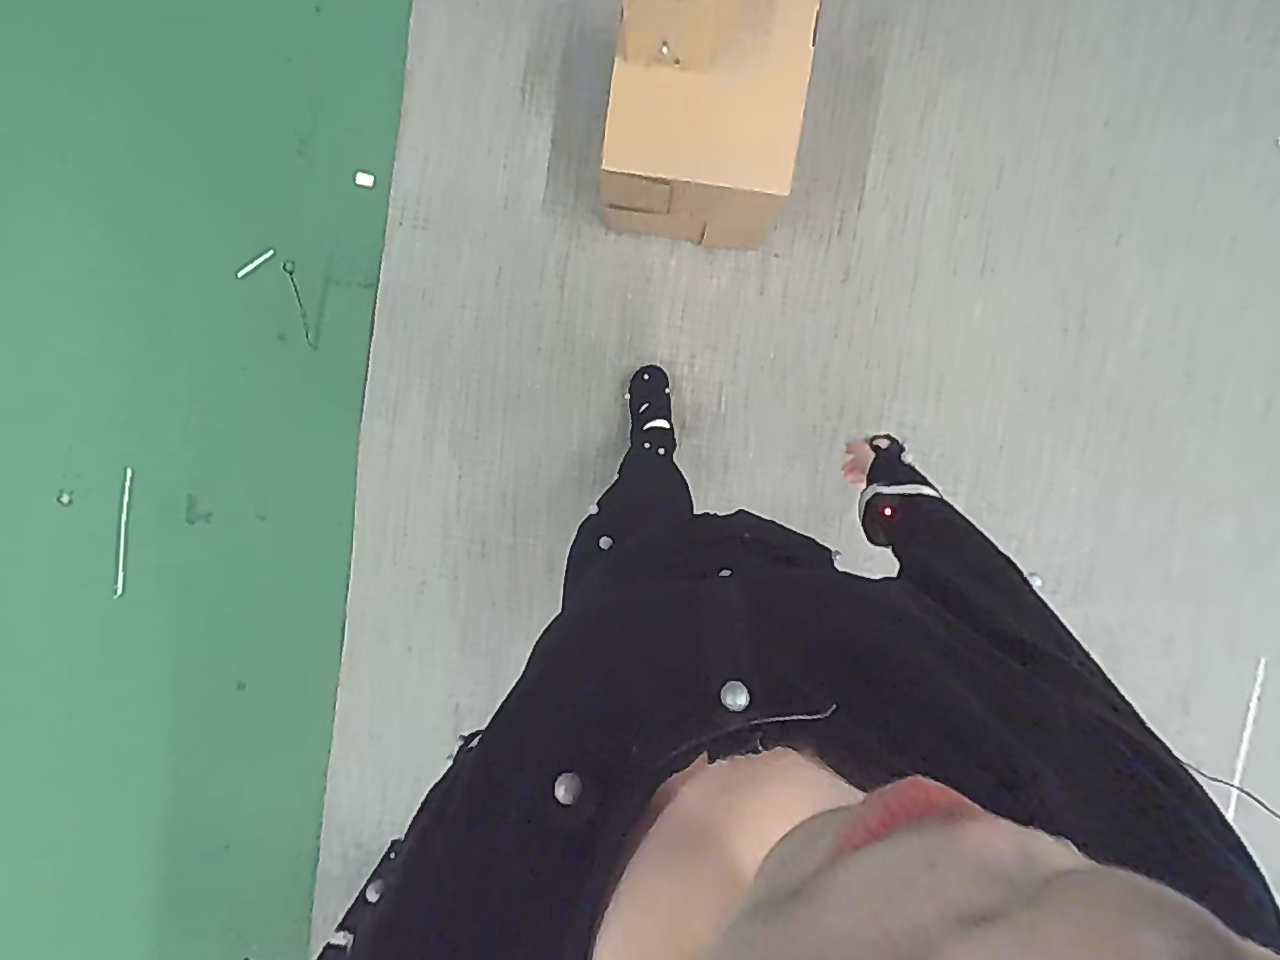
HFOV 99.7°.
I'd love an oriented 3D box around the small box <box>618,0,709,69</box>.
[{"bbox_3d":[0.050,-0.942,1.031,0.168,0.176,0.179,8,91,2],"label":"small box"}]
